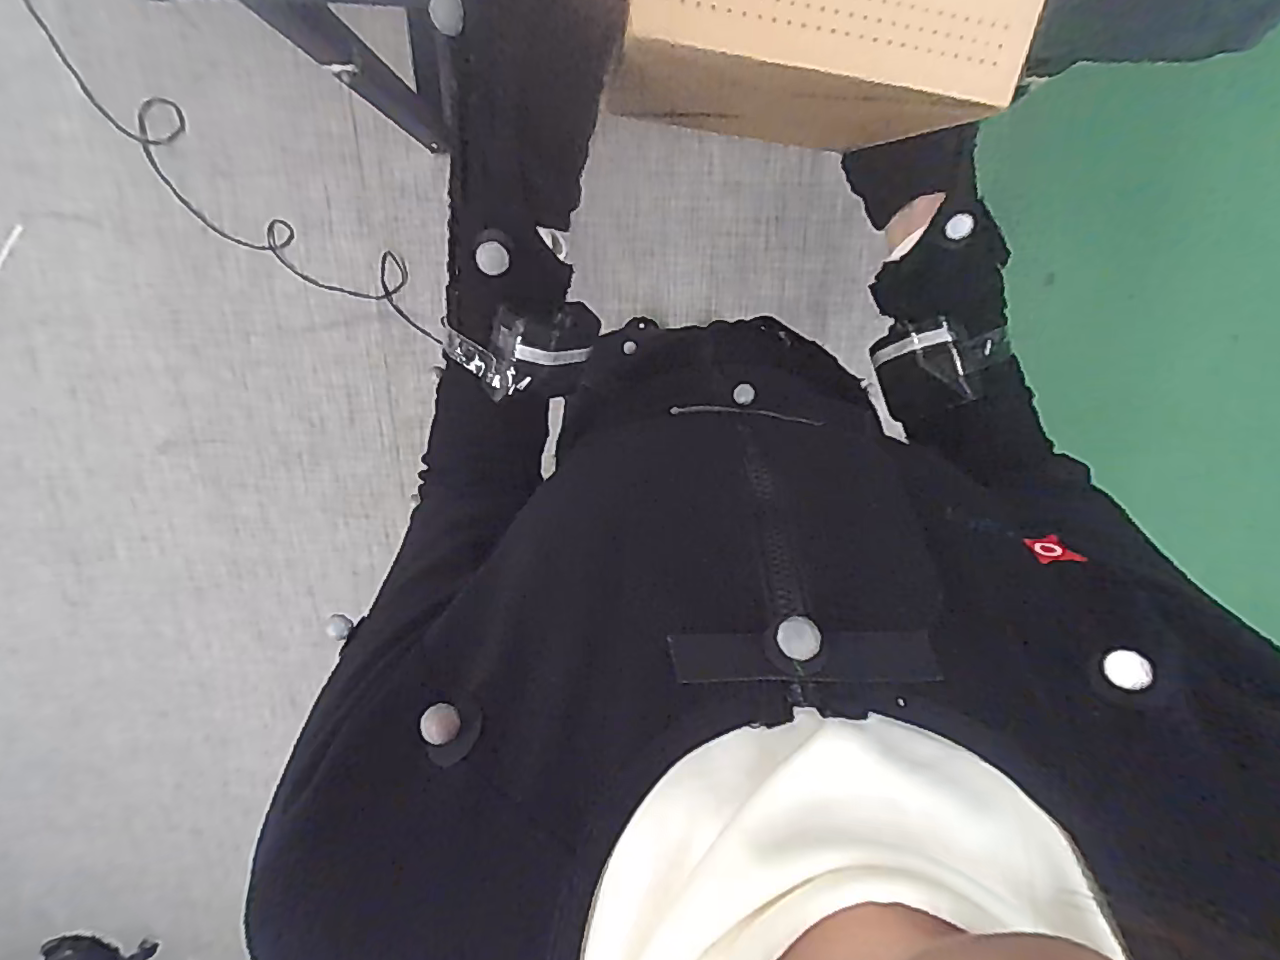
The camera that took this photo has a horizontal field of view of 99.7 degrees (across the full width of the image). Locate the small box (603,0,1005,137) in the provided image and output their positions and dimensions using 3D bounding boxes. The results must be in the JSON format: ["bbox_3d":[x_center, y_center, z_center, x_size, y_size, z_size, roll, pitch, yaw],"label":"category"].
[{"bbox_3d":[0.081,-0.291,0.277,0.179,0.168,0.176,3,115,-10],"label":"small box"}]
